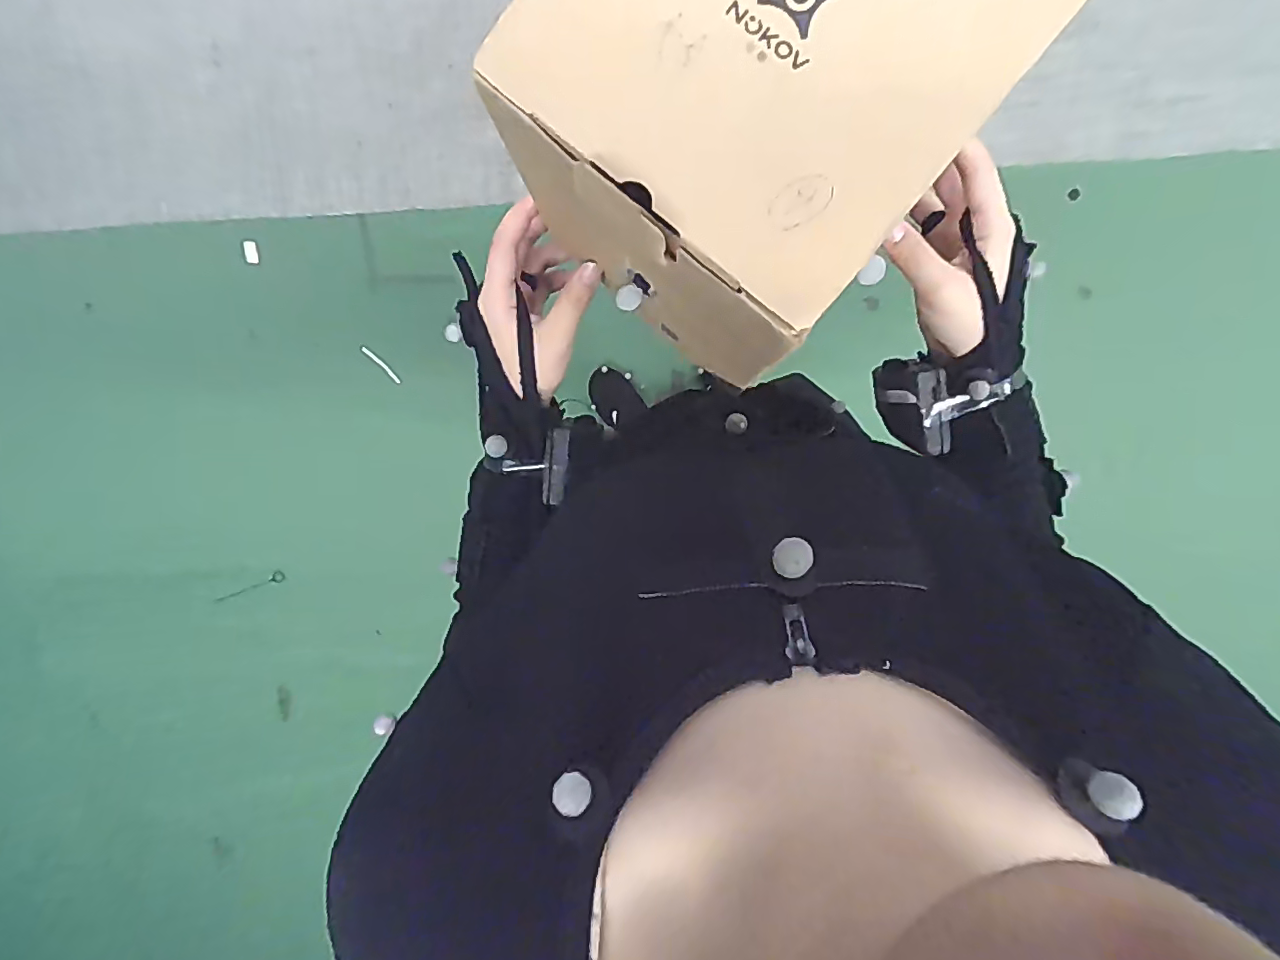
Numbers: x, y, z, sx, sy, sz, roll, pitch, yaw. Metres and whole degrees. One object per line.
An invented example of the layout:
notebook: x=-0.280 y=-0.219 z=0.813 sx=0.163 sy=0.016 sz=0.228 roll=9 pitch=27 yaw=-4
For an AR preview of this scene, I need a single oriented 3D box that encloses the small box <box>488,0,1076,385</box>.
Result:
small box: x=0.057 y=-0.172 z=0.293 sx=0.168 sy=0.176 sz=0.179 roll=40 pitch=93 yaw=1
